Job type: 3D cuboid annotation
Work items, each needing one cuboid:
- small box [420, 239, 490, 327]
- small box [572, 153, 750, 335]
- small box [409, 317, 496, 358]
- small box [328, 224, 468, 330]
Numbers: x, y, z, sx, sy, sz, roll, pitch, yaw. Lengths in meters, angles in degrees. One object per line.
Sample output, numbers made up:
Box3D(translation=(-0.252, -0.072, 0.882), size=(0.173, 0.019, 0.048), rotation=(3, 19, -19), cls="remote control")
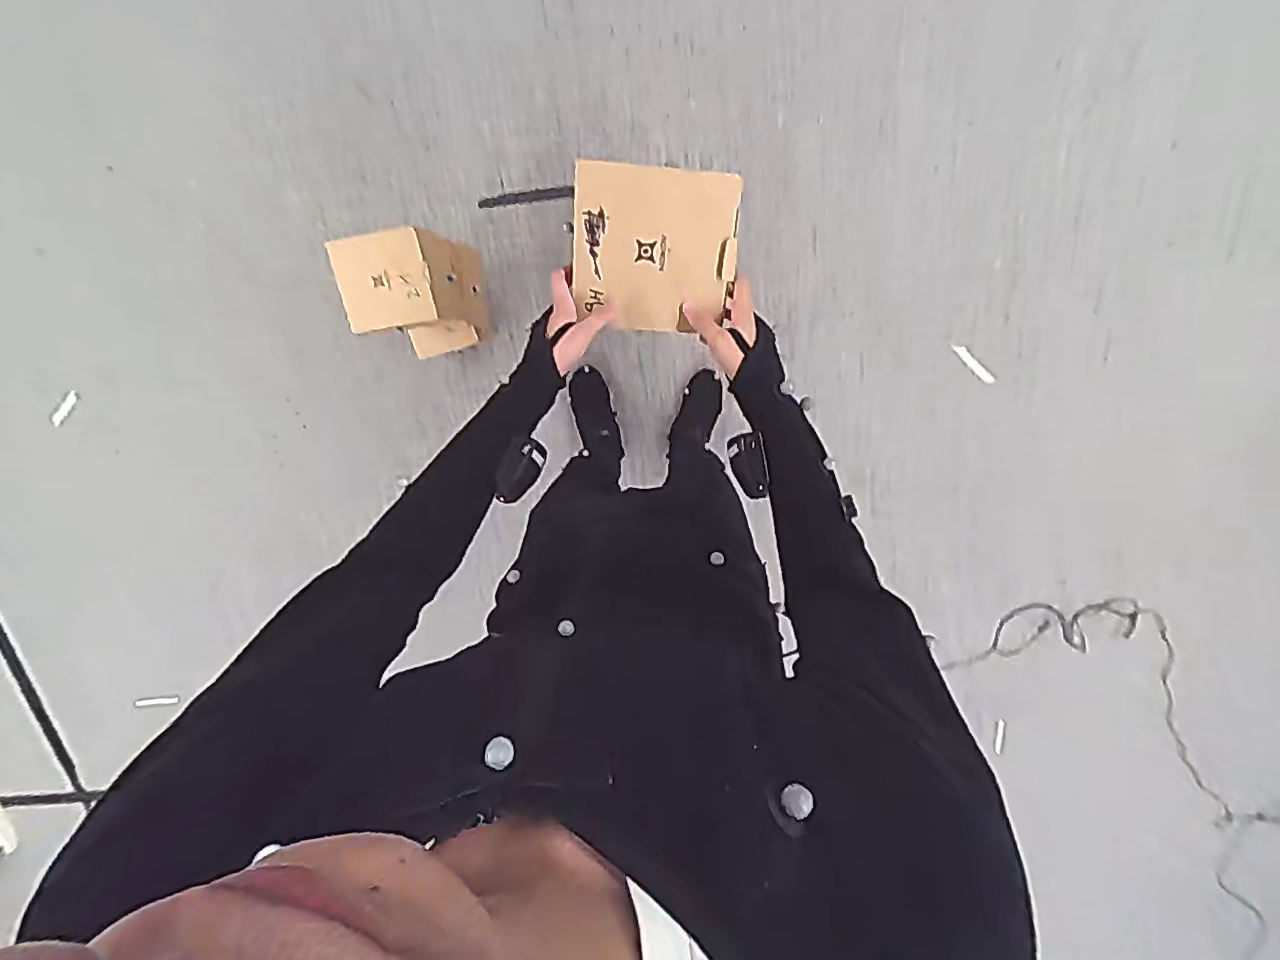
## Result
Box3D(translation=(-0.449, -0.439, 1.225), size=(0.168, 0.176, 0.179), rotation=(-1, 107, 2), cls="small box")
Box3D(translation=(0.013, -0.277, 0.641), size=(0.179, 0.176, 0.168), rotation=(3, 115, -5), cls="small box")
Box3D(translation=(-0.495, -0.426, 1.400), size=(0.168, 0.176, 0.179), rotation=(-15, 107, 6), cls="small box")
Box3D(translation=(-0.467, -0.391, 1.068), size=(0.179, 0.176, 0.168), rotation=(-8, 106, 4), cls="small box")
